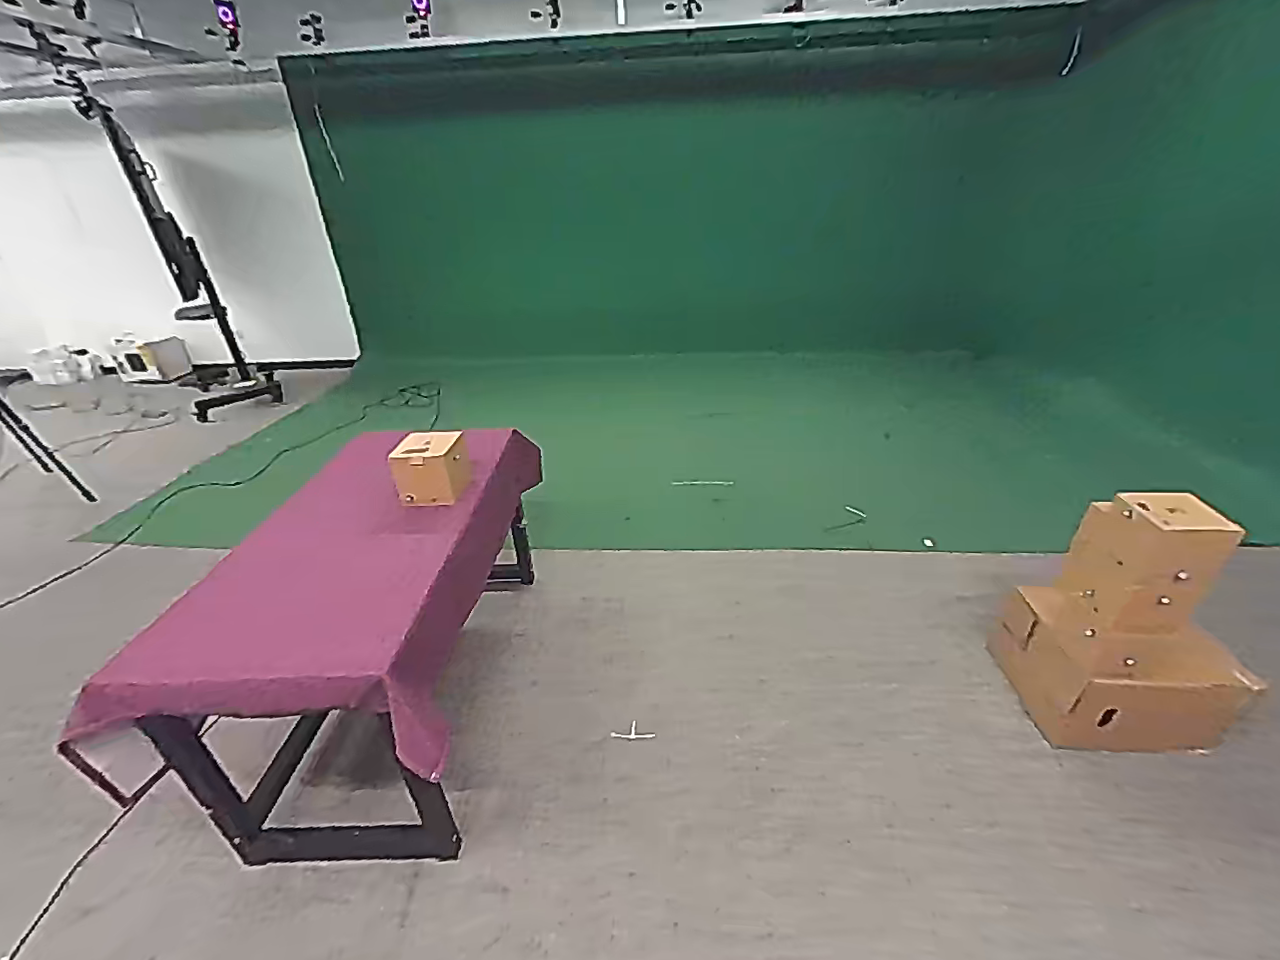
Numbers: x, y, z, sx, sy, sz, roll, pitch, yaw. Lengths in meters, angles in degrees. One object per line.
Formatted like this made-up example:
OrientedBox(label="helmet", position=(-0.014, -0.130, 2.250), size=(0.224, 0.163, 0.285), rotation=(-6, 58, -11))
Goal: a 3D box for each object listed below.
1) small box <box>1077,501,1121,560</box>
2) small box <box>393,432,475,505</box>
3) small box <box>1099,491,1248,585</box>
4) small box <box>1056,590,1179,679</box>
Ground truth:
OrientedBox(label="small box", position=(1.467, 0.179, 1.612), size=(0.168, 0.176, 0.179), rotation=(1, 28, 1))
OrientedBox(label="small box", position=(-0.622, -0.033, 1.661), size=(0.168, 0.176, 0.179), rotation=(-1, 29, 3))
OrientedBox(label="small box", position=(1.306, 0.144, 1.342), size=(0.179, 0.176, 0.168), rotation=(1, 30, 5))
OrientedBox(label="small box", position=(1.315, 0.429, 1.503), size=(0.168, 0.176, 0.179), rotation=(1, 30, 5))
